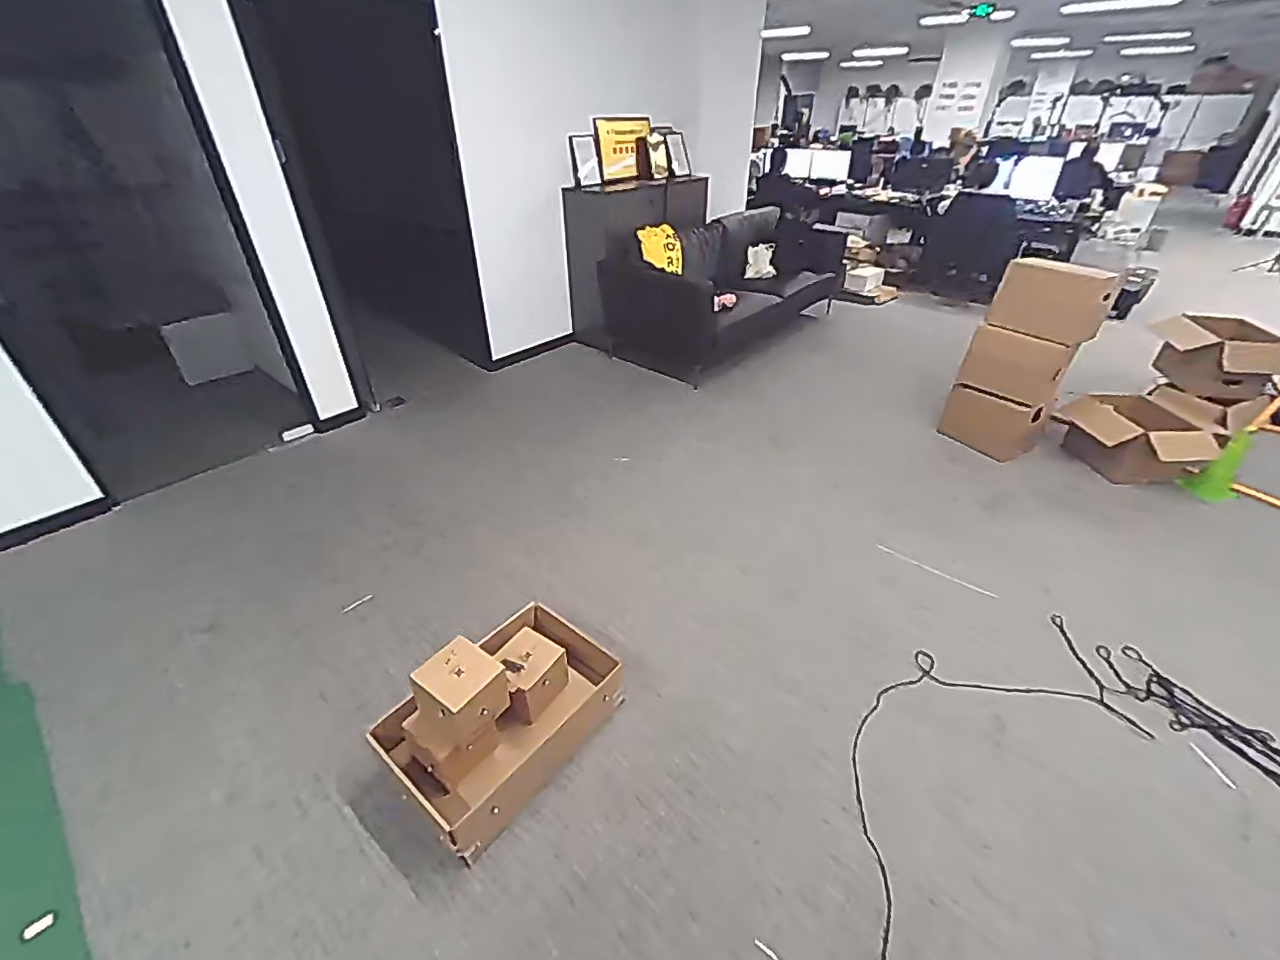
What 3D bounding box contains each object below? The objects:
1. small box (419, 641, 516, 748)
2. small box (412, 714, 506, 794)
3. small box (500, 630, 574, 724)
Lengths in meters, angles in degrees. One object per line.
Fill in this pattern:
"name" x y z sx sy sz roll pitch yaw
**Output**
"small box" -0.447 0.569 1.424 0.179 0.176 0.168 22 38 27
"small box" -0.492 0.718 1.493 0.168 0.176 0.179 23 39 29
"small box" -0.317 0.605 1.656 0.168 0.176 0.179 20 40 27
